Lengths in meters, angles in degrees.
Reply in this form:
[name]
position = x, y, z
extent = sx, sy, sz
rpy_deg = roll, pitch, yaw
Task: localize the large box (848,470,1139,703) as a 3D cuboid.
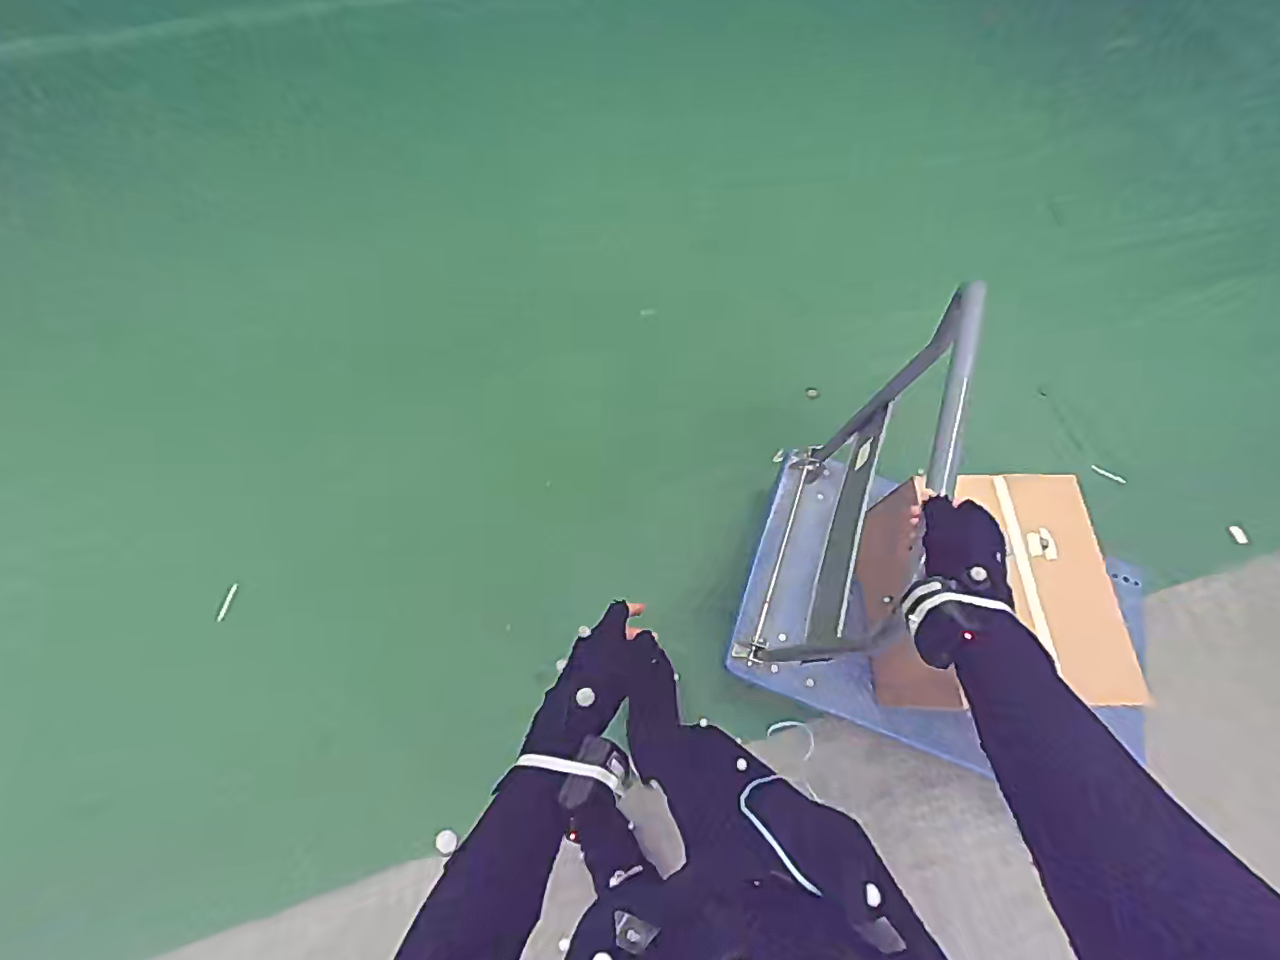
[large box]
position = 0.654, 0.225, 1.089
extent = 0.320, 0.320, 0.408
rpy_deg = 0, 67, -2
